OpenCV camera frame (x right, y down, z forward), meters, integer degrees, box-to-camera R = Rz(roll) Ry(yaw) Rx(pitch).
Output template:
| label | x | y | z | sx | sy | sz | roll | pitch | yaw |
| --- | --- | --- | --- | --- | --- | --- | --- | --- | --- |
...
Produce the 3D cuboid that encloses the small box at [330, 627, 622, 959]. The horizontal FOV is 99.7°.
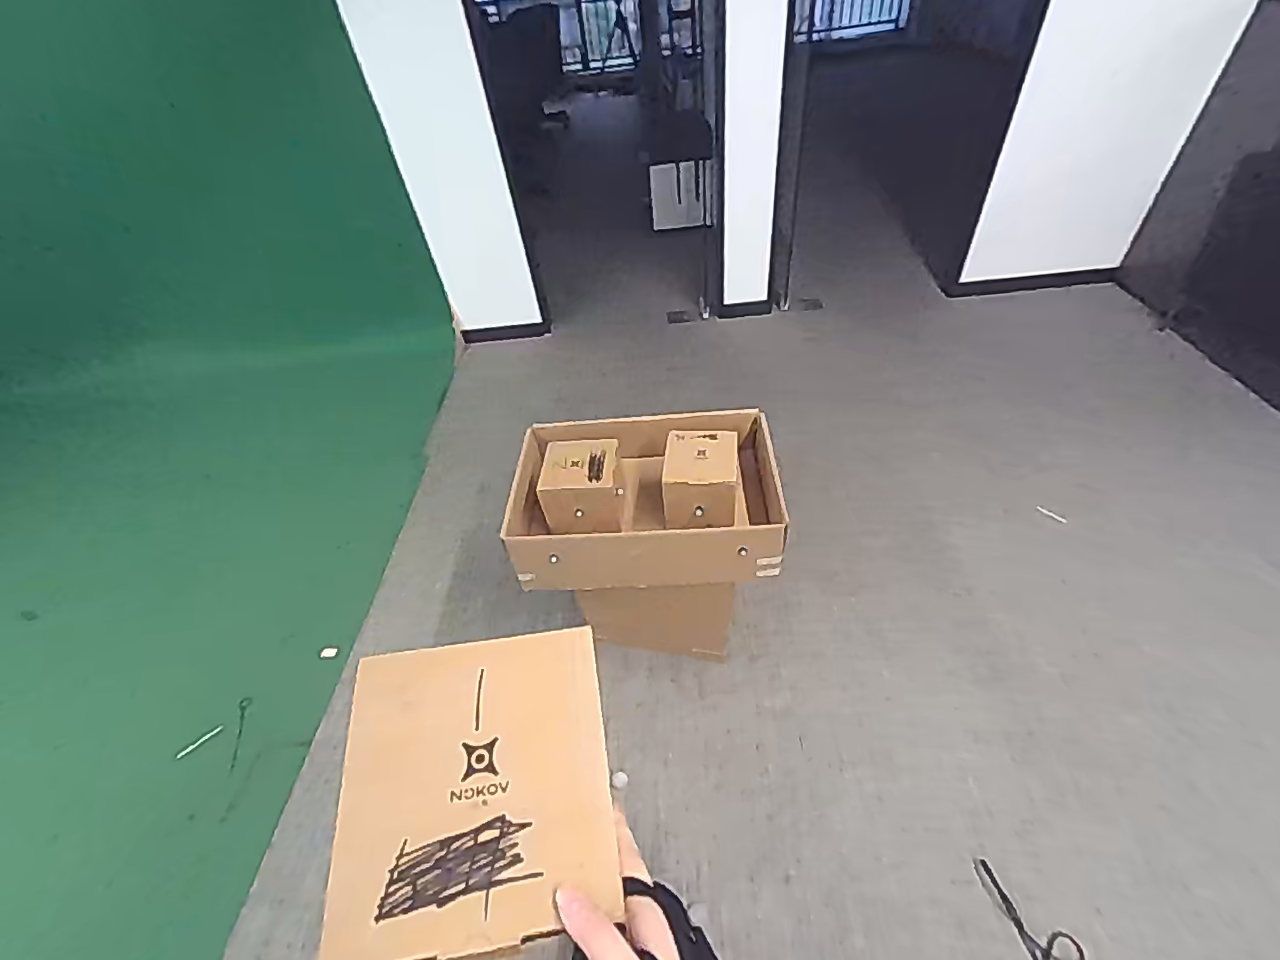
| label | x | y | z | sx | sy | sz | roll | pitch | yaw |
| --- | --- | --- | --- | --- | --- | --- | --- | --- | --- |
| small box | -0.105 | 0.233 | 0.413 | 0.168 | 0.176 | 0.179 | -4 | 54 | -8 |
